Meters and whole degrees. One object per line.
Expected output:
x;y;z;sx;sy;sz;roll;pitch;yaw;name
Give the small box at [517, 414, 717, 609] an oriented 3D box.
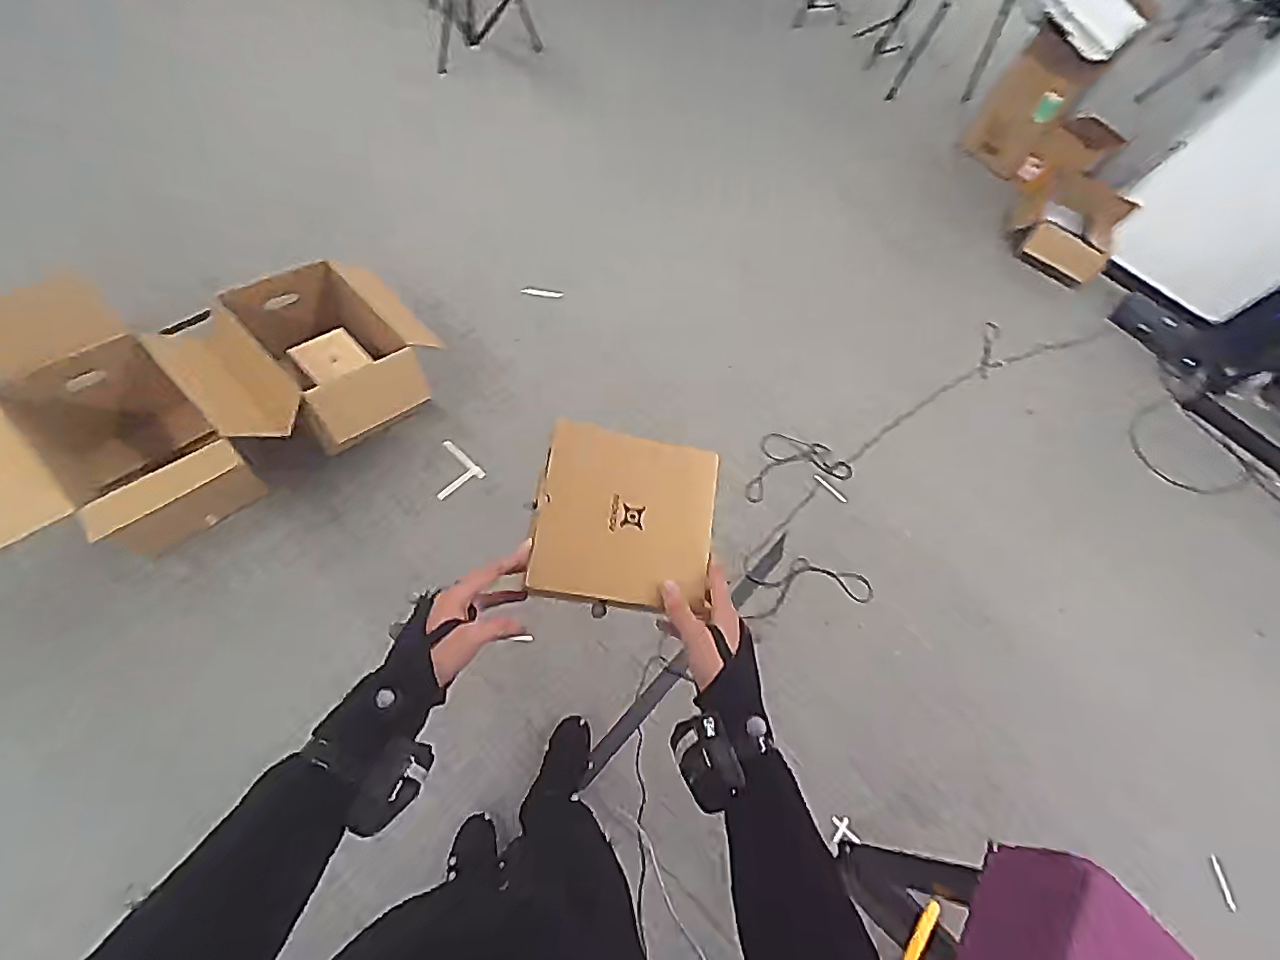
-0.033;0.045;0.593;0.179;0.176;0.168;10;76;-11;small box
